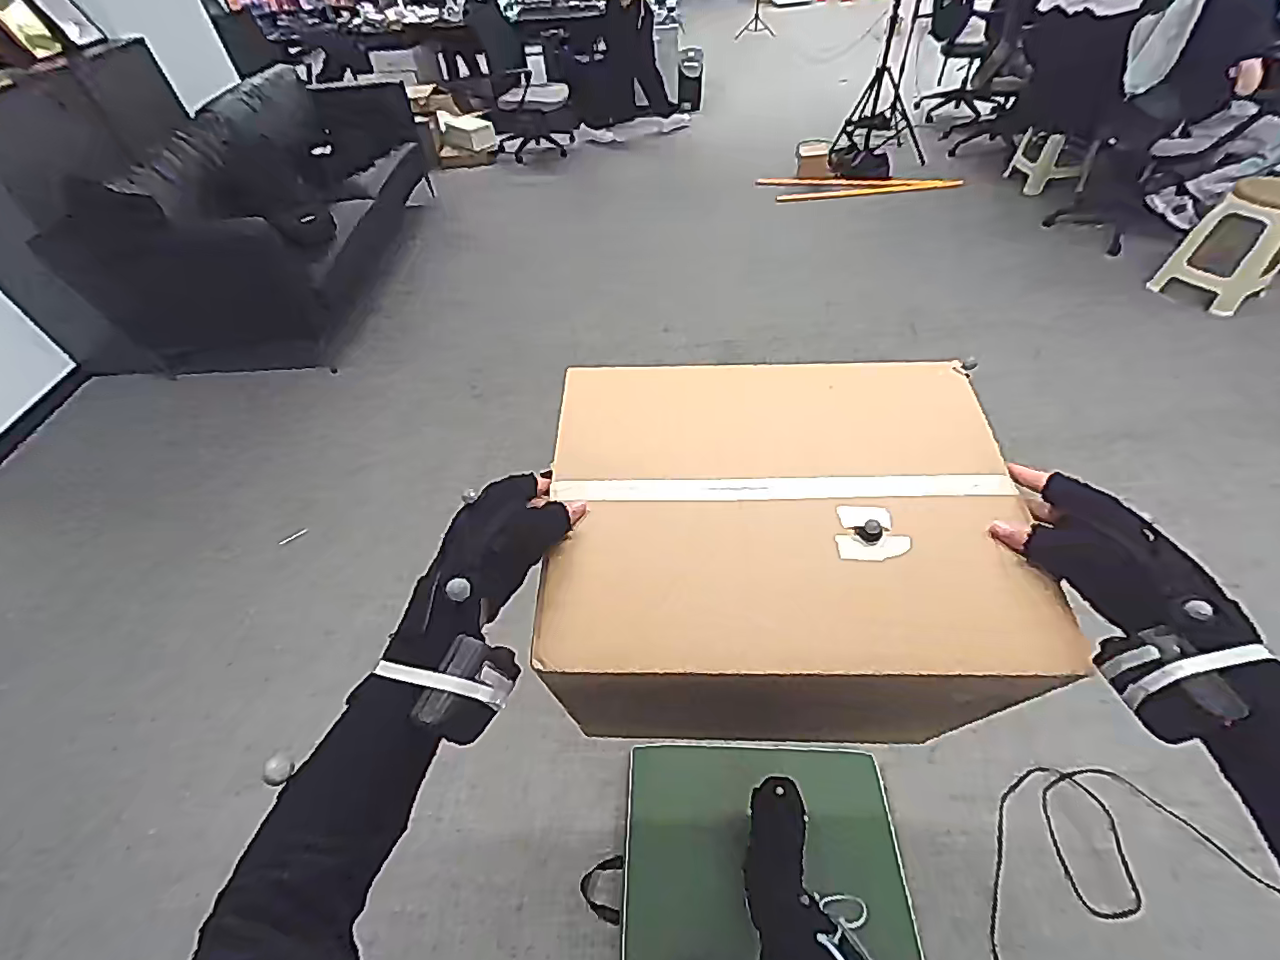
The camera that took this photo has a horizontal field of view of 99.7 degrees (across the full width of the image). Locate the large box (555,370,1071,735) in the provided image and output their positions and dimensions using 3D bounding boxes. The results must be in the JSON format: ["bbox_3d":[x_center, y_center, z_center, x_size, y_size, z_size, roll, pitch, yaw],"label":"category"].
[{"bbox_3d":[0.133,0.096,0.617,0.408,0.320,0.320,0,57,2],"label":"large box"}]
